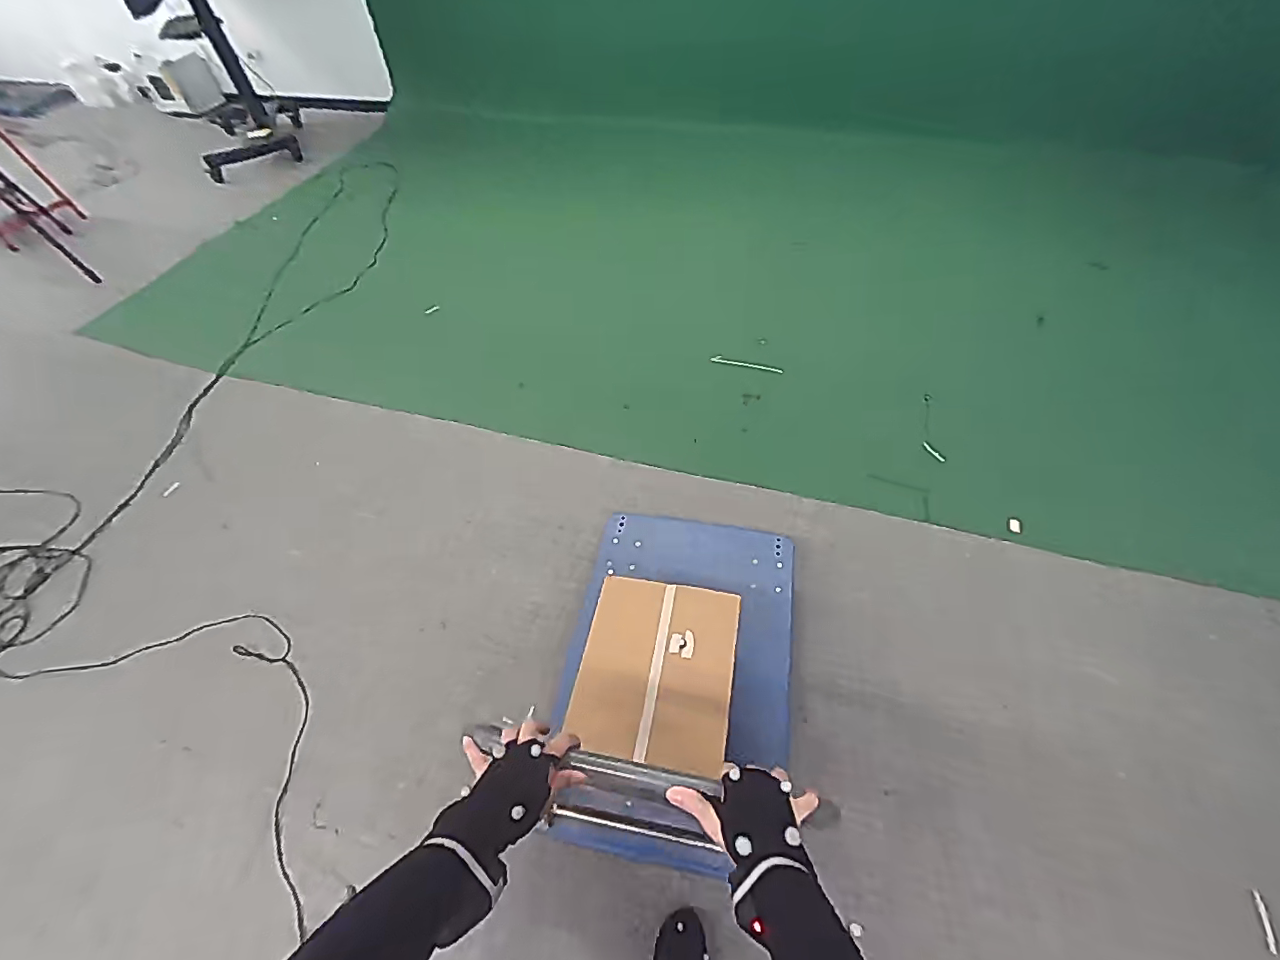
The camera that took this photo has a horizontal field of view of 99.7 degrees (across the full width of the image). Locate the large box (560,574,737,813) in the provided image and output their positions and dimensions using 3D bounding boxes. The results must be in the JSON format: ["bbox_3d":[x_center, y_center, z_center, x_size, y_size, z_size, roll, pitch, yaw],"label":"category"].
[{"bbox_3d":[0.040,0.482,1.231,0.320,0.320,0.408,7,52,9],"label":"large box"}]
